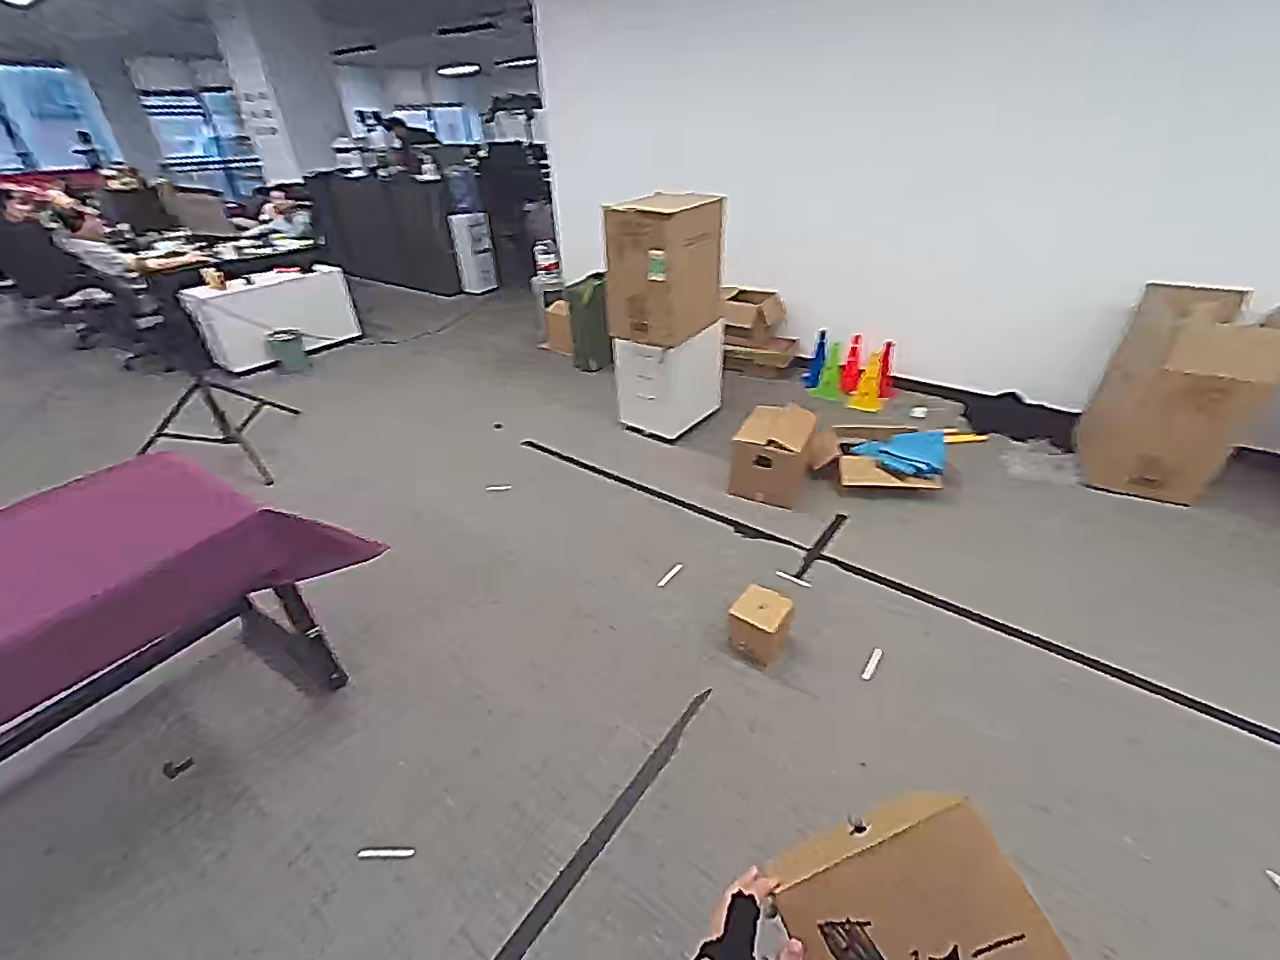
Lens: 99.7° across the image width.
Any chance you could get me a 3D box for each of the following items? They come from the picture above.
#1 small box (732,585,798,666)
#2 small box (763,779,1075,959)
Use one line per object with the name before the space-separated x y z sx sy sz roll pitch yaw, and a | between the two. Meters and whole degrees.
small box | 0.430 0.506 1.886 0.168 0.176 0.179 21 41 32
small box | 0.216 0.376 0.451 0.179 0.176 0.168 -24 60 -7
